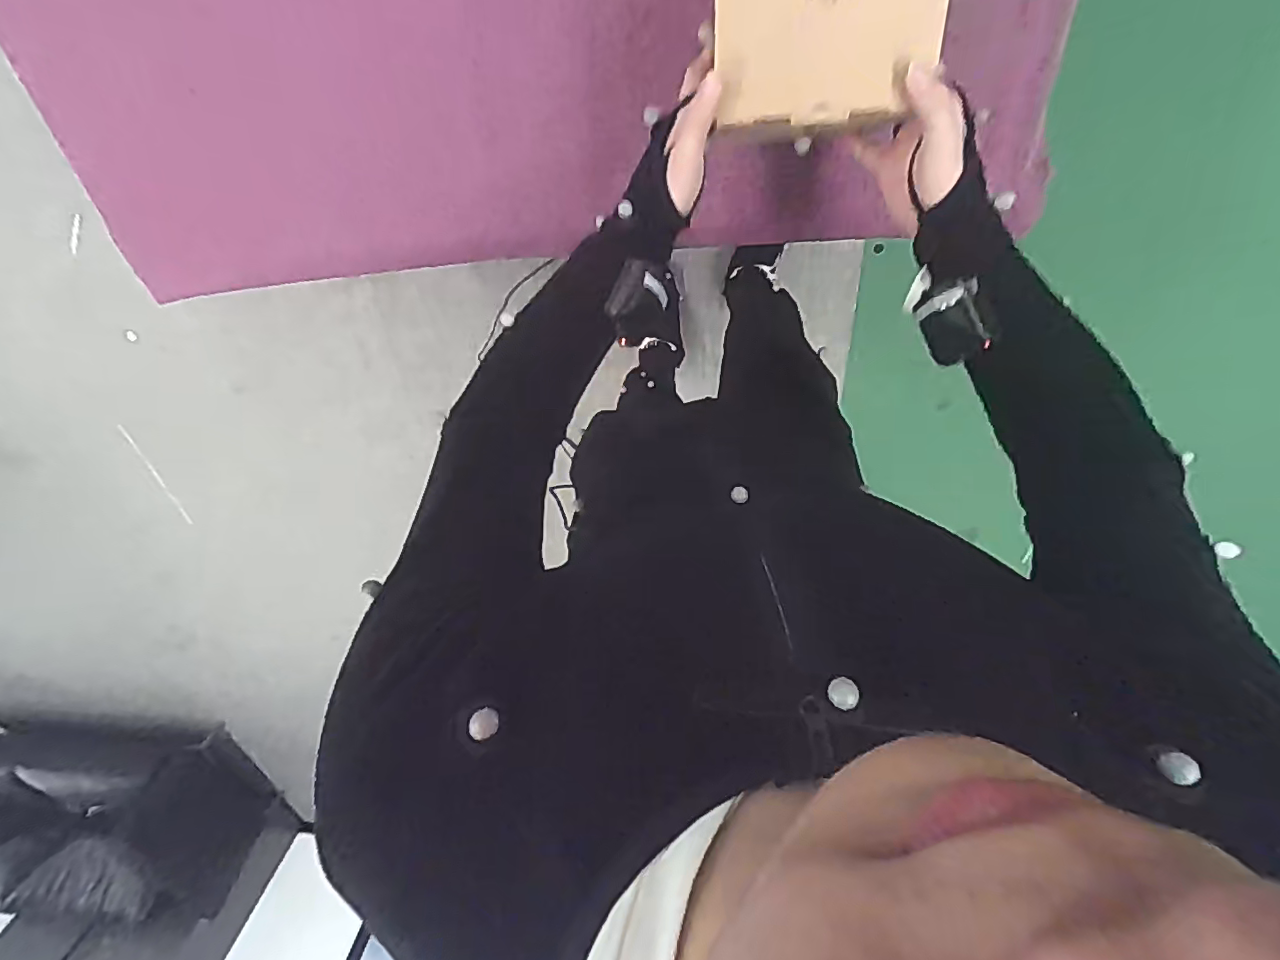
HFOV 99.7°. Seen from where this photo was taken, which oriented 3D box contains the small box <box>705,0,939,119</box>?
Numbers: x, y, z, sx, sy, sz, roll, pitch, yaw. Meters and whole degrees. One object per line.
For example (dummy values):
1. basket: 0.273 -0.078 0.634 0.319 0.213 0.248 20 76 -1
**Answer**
1. small box: 0.141 -0.407 0.443 0.168 0.176 0.179 1 119 9
